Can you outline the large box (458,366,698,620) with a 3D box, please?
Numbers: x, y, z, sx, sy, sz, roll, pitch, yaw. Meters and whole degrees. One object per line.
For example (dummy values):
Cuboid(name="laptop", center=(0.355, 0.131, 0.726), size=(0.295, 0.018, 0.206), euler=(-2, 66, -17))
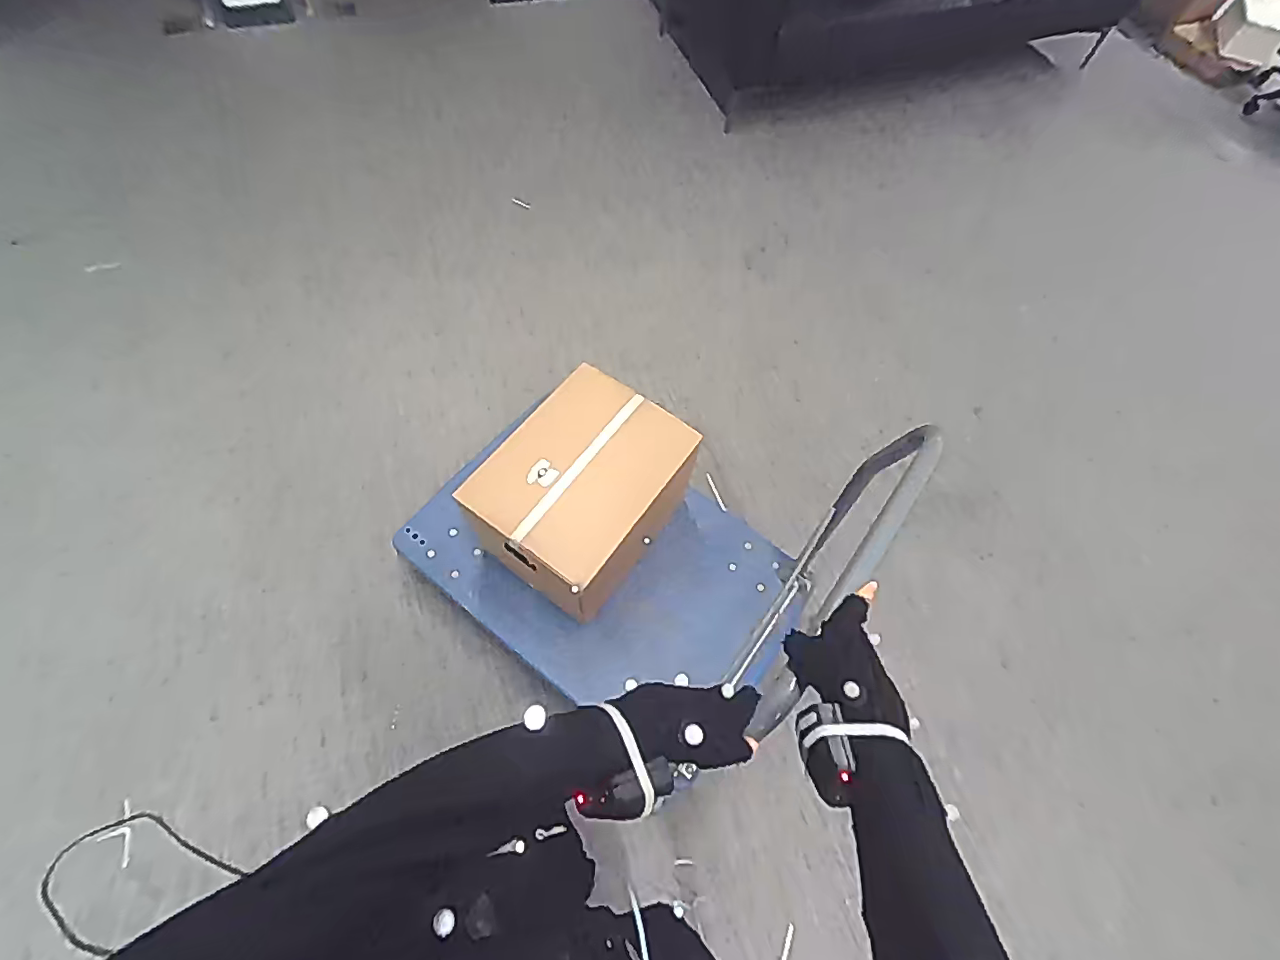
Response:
Cuboid(name="large box", center=(-0.120, 0.037, 1.201), size=(0.320, 0.320, 0.408), euler=(33, 67, 13))
